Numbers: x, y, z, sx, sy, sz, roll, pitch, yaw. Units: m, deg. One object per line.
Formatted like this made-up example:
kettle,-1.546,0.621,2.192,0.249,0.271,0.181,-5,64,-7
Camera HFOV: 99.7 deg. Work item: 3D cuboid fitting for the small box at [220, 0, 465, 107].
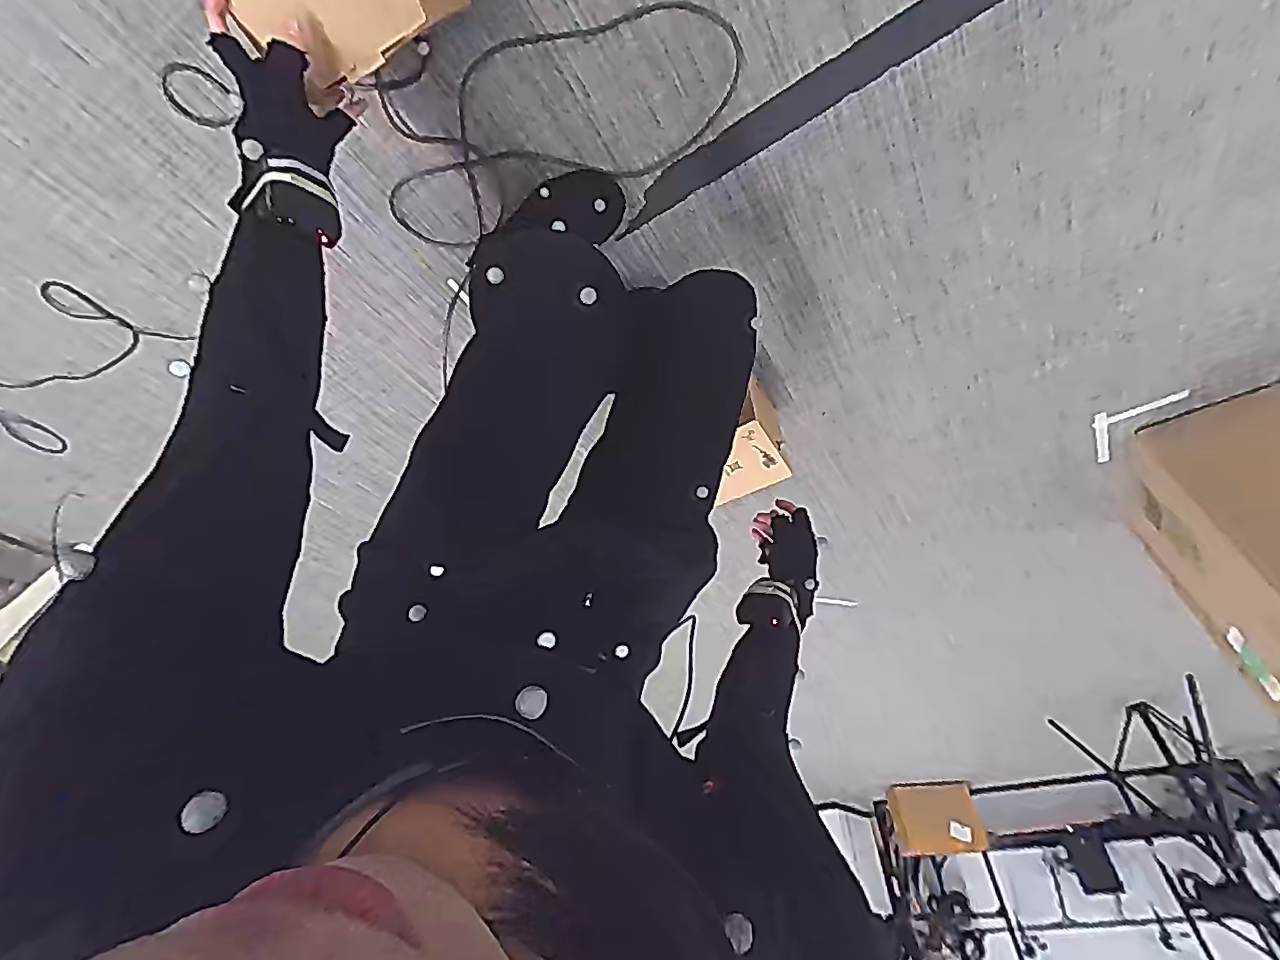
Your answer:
small box,-0.296,-0.505,0.515,0.168,0.176,0.179,-17,132,18

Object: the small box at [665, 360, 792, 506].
small box,0.160,-0.085,0.998,0.179,0.176,0.168,-23,134,24
